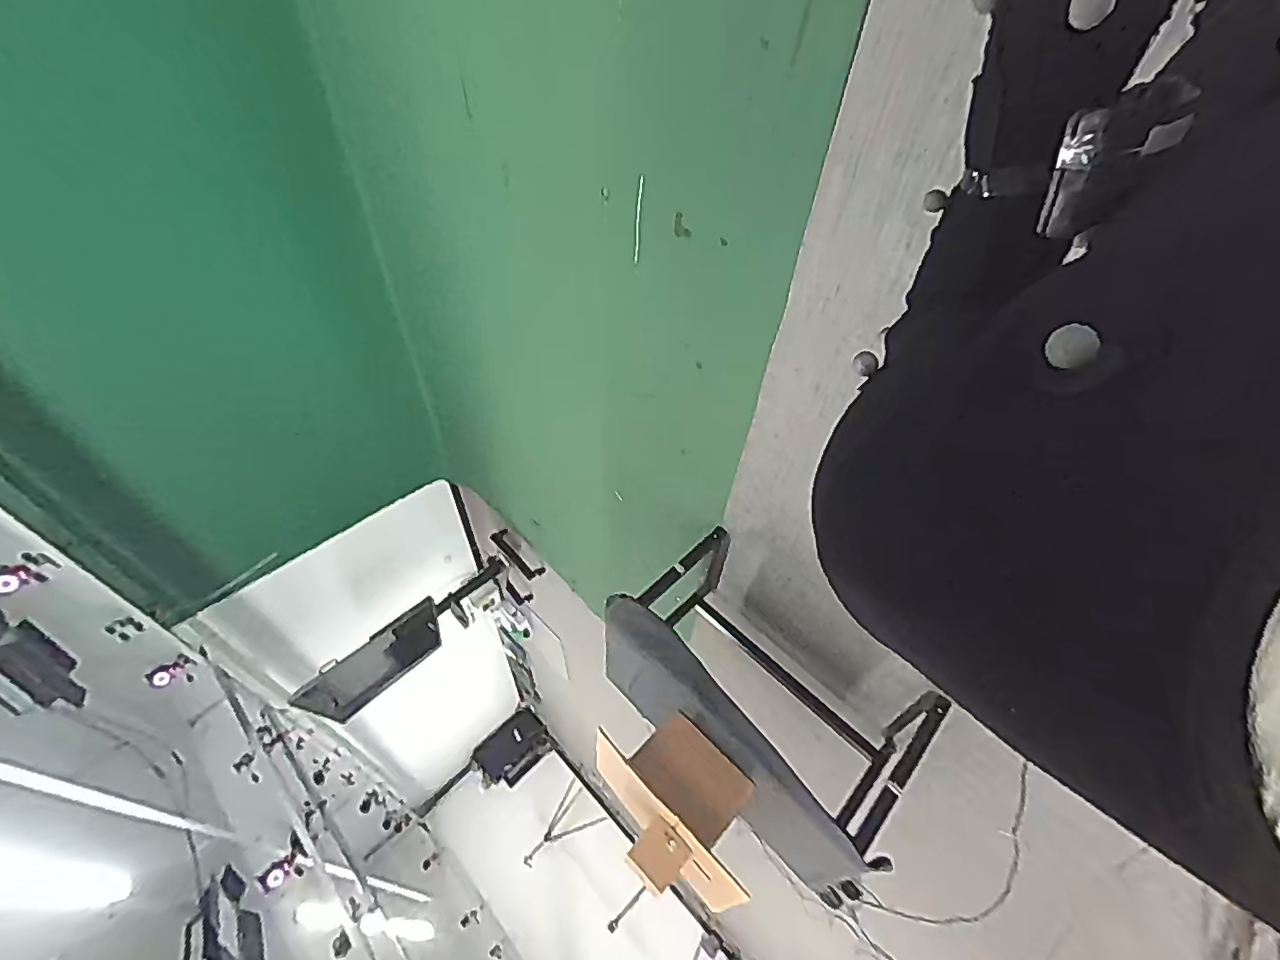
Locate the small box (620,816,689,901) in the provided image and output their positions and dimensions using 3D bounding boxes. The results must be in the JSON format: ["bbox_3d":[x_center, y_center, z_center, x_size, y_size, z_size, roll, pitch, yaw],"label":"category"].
[{"bbox_3d":[0.050,1.310,1.874,0.168,0.176,0.179,37,144,25],"label":"small box"}]
